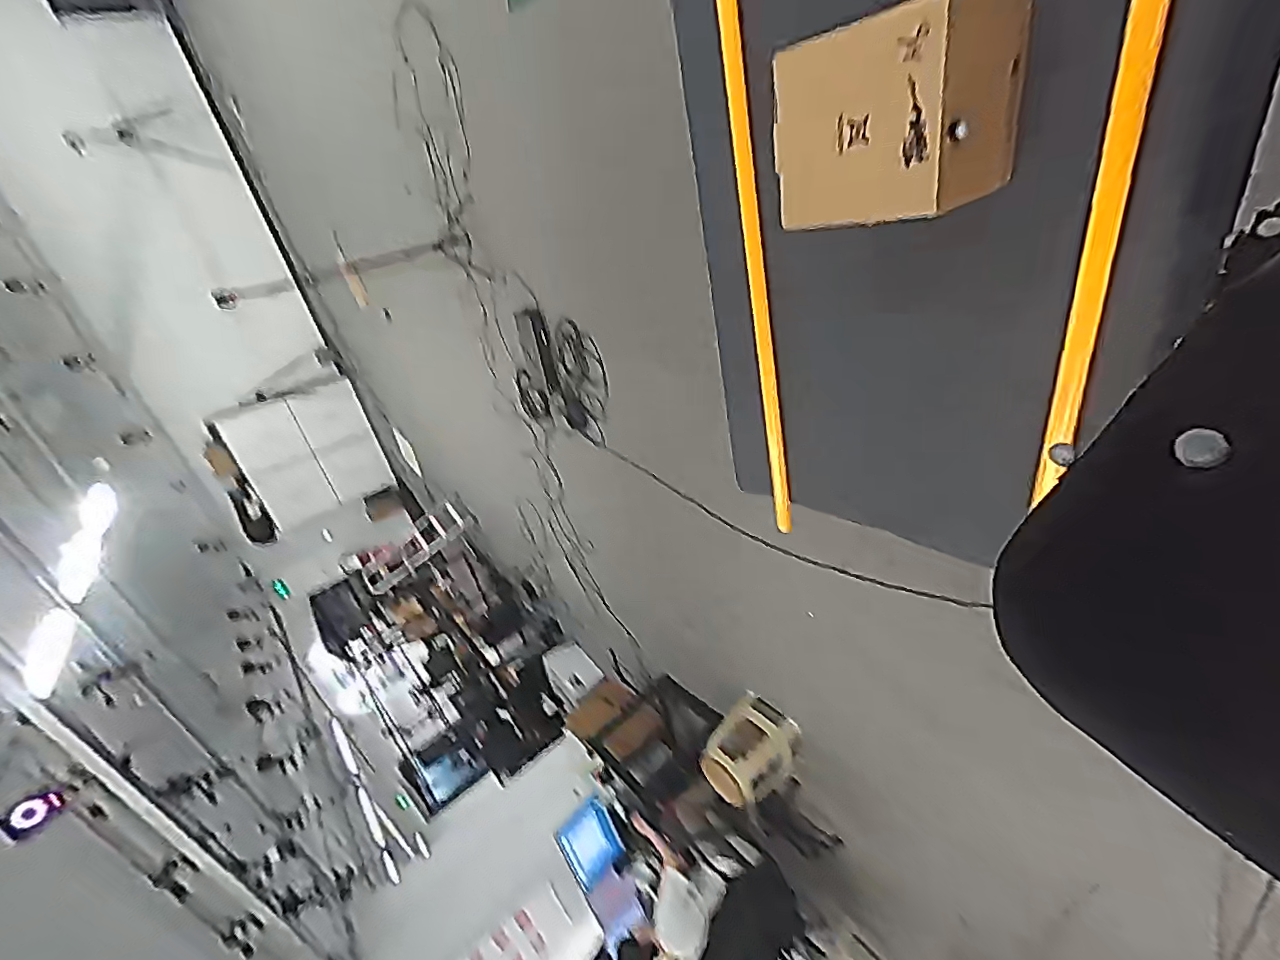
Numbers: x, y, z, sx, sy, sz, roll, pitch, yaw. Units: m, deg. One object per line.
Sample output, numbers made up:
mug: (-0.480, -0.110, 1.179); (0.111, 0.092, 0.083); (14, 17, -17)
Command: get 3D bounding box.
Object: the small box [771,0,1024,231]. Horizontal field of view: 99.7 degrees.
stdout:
small box: (0.265, -0.374, 0.574); (0.179, 0.176, 0.168); (23, 135, 48)
